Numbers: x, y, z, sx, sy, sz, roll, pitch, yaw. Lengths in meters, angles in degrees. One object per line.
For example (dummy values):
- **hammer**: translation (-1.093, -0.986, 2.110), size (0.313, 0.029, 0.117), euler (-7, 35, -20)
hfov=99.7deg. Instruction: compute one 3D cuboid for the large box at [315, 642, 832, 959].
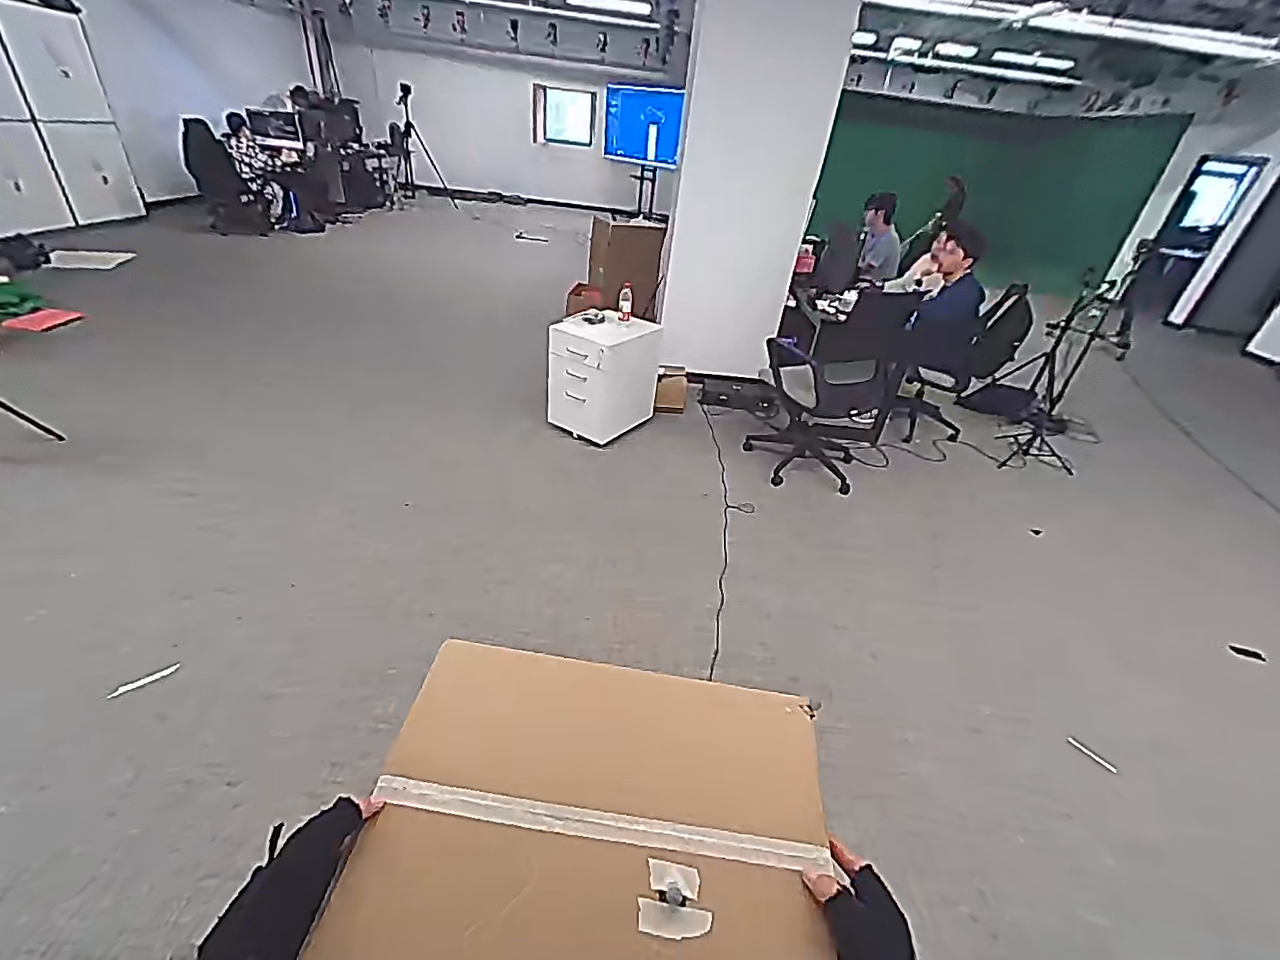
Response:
- **large box**: translation (-0.051, 0.421, 0.588), size (0.408, 0.320, 0.320), euler (10, 40, 1)
